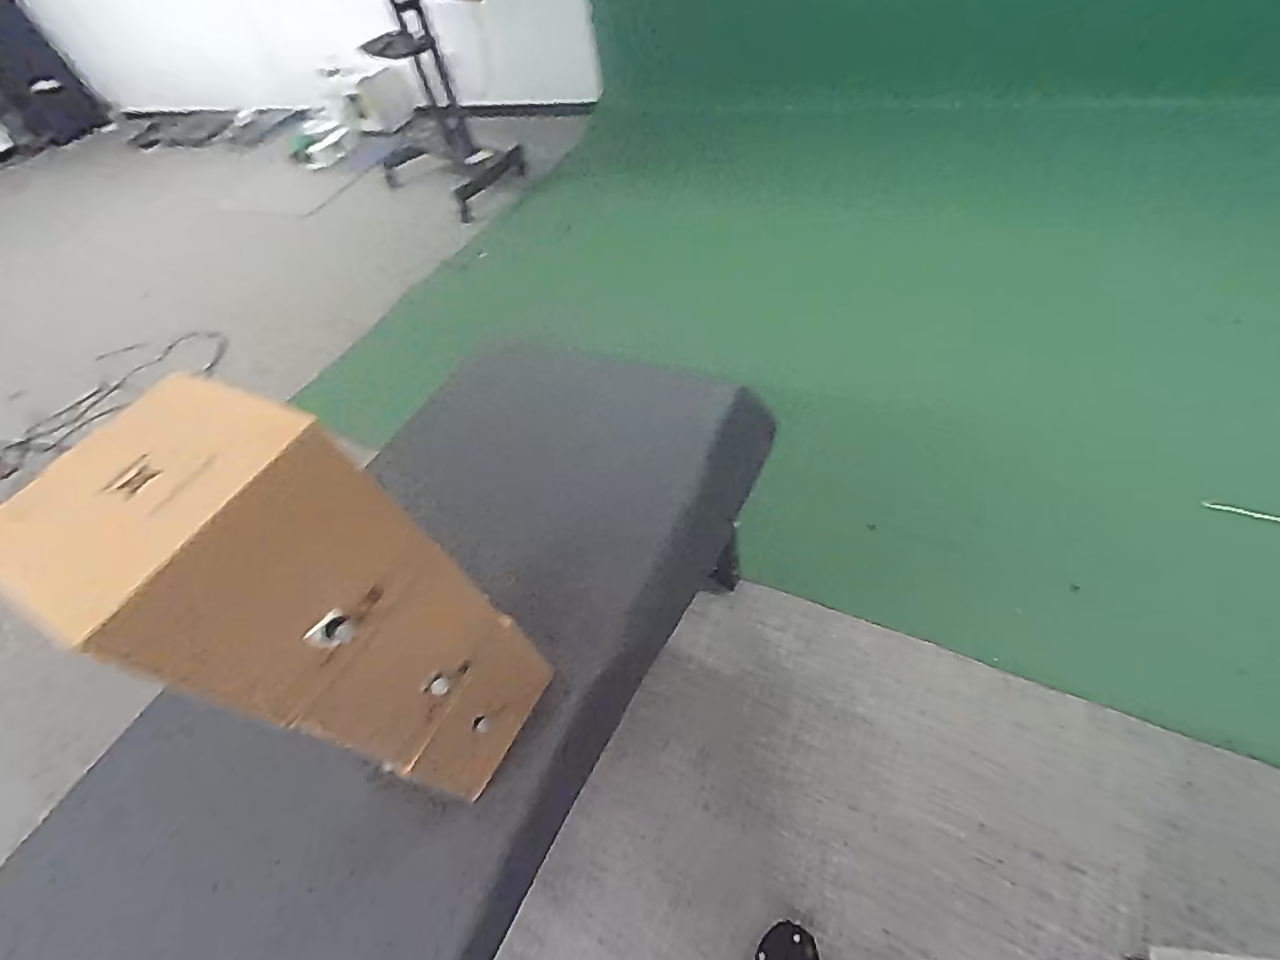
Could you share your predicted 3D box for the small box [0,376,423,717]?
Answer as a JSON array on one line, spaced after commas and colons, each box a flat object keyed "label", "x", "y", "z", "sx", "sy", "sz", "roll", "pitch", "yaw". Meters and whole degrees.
[{"label": "small box", "x": -0.307, "y": 0.051, "z": 0.404, "sx": 0.179, "sy": 0.176, "sz": 0.168, "roll": 17, "pitch": 60, "yaw": 24}]

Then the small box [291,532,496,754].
[{"label": "small box", "x": -0.280, "y": 0.143, "z": 0.534, "sx": 0.179, "sy": 0.176, "sz": 0.168, "roll": 15, "pitch": 57, "yaw": 26}]

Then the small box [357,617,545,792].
[{"label": "small box", "x": -0.242, "y": 0.247, "z": 0.656, "sx": 0.168, "sy": 0.176, "sz": 0.179, "roll": 18, "pitch": 59, "yaw": 25}]
